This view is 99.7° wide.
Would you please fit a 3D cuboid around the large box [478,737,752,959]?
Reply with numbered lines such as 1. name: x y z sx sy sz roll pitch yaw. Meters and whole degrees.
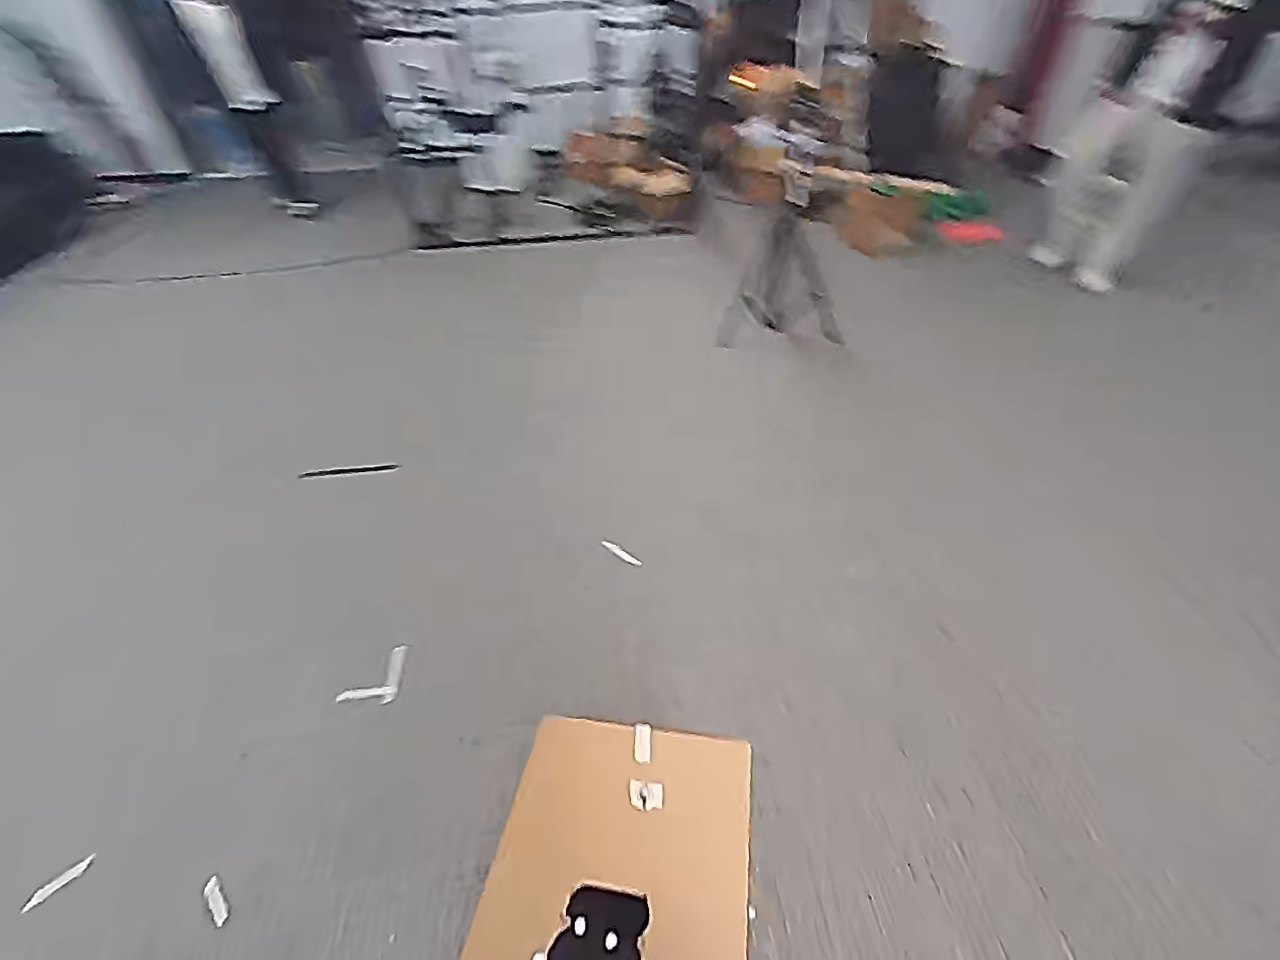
1. large box: 0.003 0.624 0.783 0.320 0.408 0.320 2 39 12
